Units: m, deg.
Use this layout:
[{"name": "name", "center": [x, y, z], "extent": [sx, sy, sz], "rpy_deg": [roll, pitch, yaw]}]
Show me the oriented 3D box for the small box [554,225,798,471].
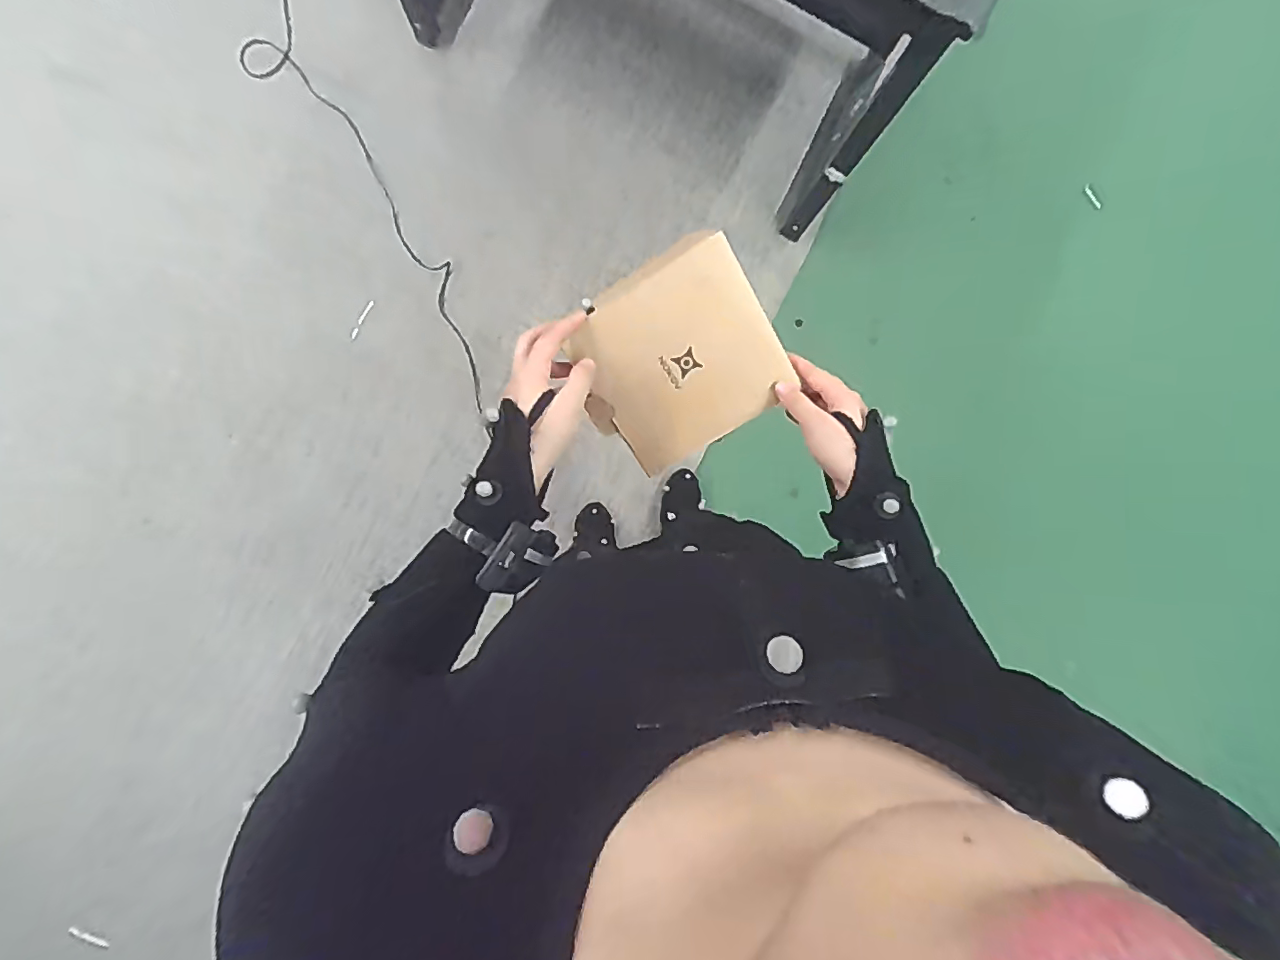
[{"name": "small box", "center": [0.032, -0.145, 0.567], "extent": [0.179, 0.176, 0.168], "rpy_deg": [-31, 111, 12]}]
